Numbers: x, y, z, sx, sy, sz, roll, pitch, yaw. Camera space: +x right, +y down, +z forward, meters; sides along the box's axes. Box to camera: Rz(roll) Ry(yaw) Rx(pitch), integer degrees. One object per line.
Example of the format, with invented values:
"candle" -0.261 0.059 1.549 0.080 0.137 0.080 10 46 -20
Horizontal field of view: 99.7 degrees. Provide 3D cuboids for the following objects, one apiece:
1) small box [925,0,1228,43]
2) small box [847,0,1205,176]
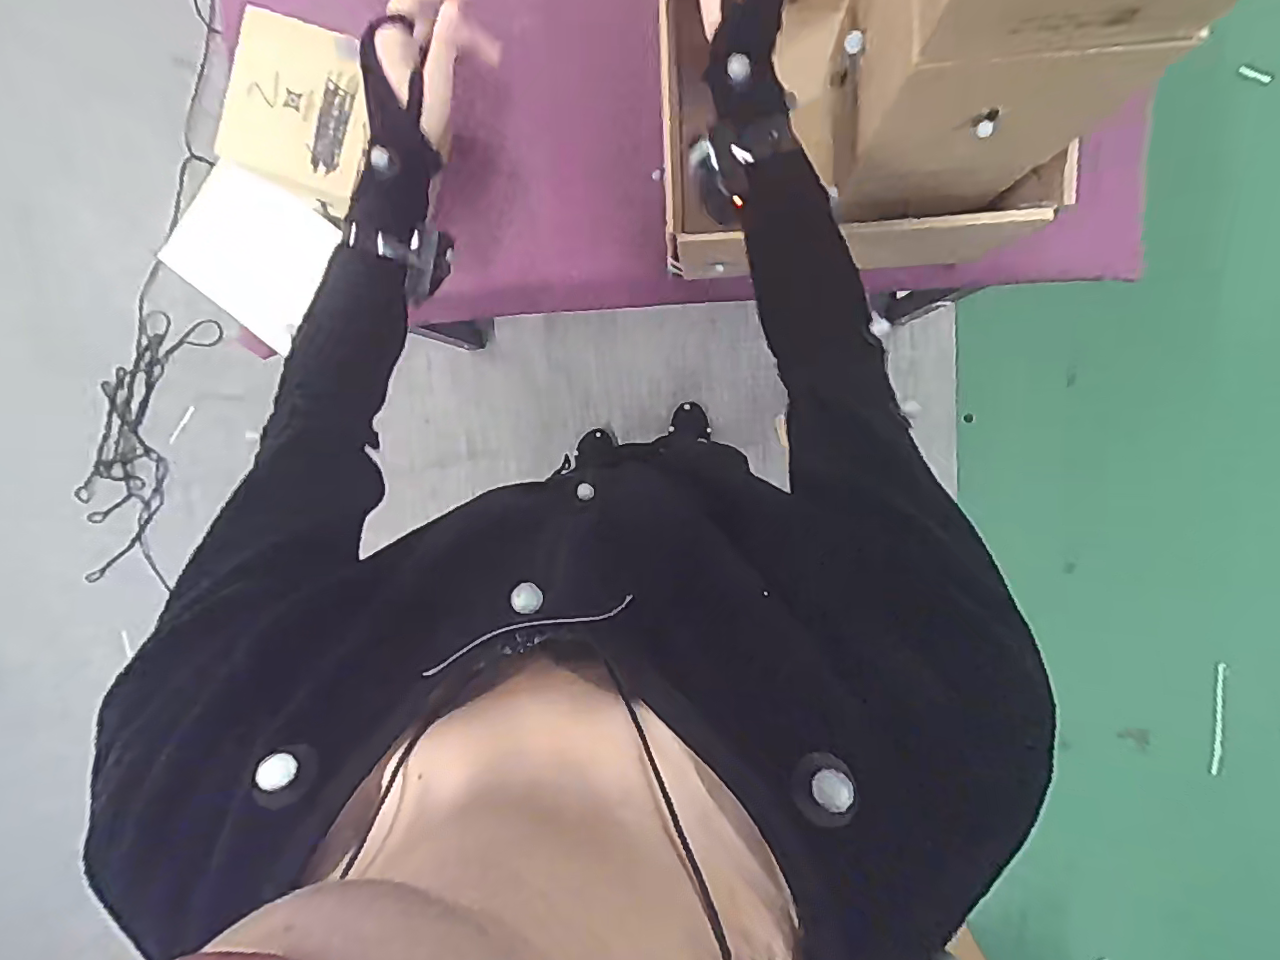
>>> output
"small box" 0.253 -0.349 0.255 0.168 0.176 0.179 1 95 6
"small box" 0.274 -0.359 0.416 0.179 0.176 0.168 0 96 8
